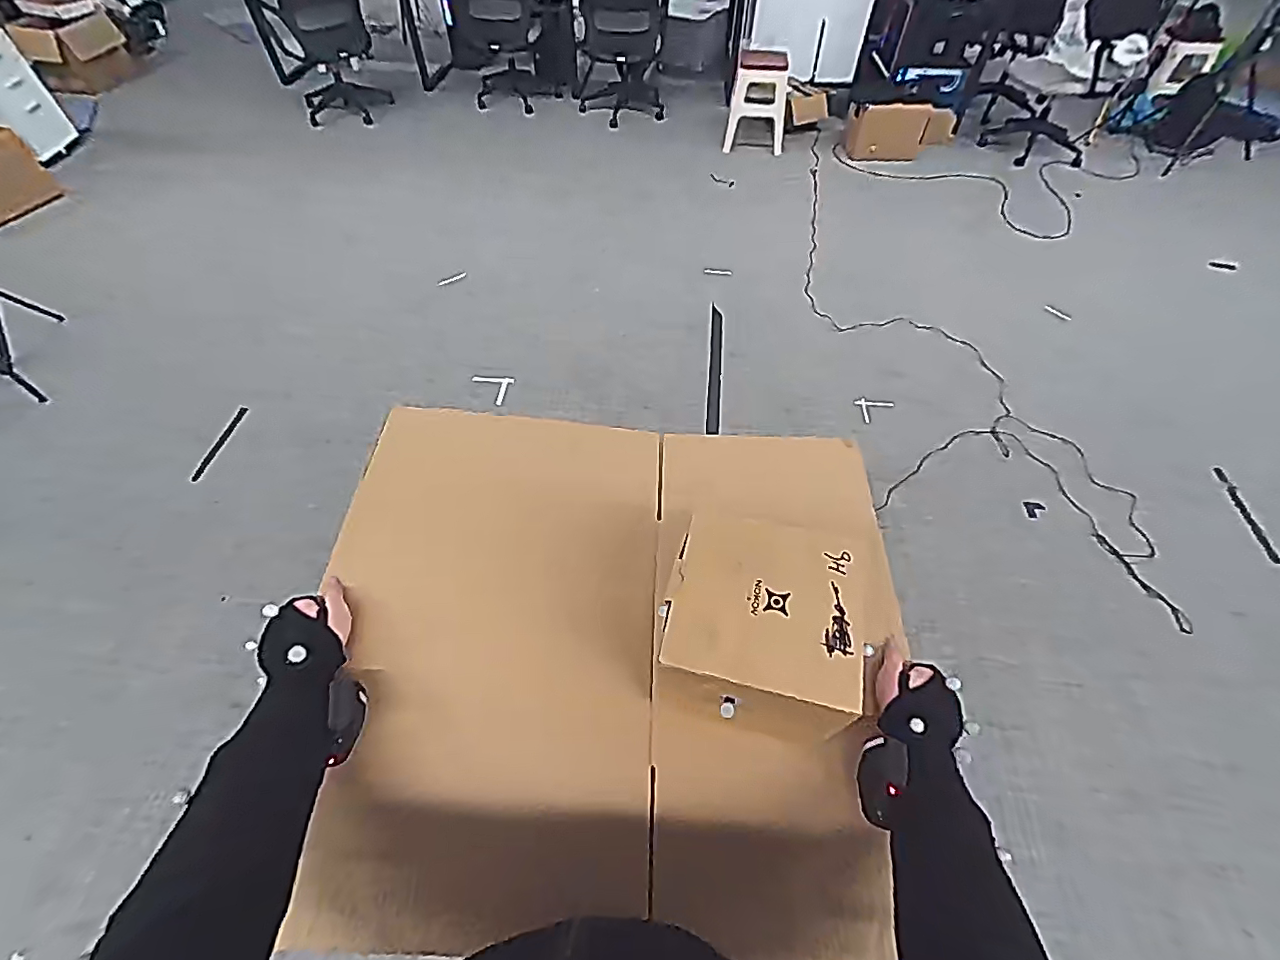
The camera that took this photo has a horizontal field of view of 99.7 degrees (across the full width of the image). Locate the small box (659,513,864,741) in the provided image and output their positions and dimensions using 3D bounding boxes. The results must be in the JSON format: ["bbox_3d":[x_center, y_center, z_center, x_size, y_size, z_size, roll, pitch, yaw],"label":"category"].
[{"bbox_3d":[0.124,0.160,0.574,0.179,0.176,0.168,10,56,10],"label":"small box"}]
